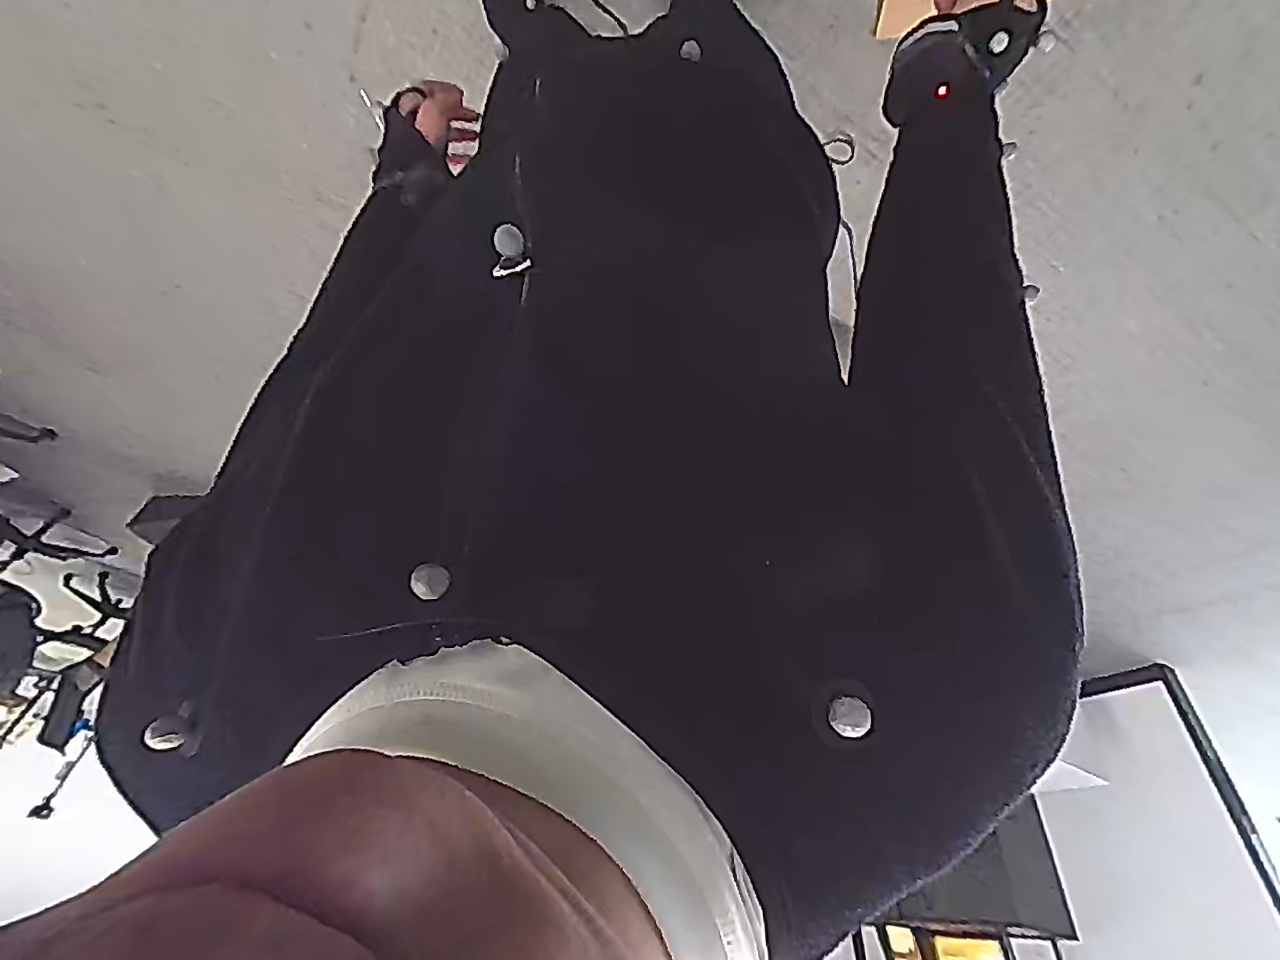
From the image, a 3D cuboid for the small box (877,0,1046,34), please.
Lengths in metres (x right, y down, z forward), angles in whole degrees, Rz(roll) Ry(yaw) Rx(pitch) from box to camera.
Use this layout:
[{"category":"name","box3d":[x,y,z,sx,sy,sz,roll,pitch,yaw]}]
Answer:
[{"category":"small box","box3d":[0.327,-0.555,0.508,0.168,0.176,0.179,5,112,15]}]
